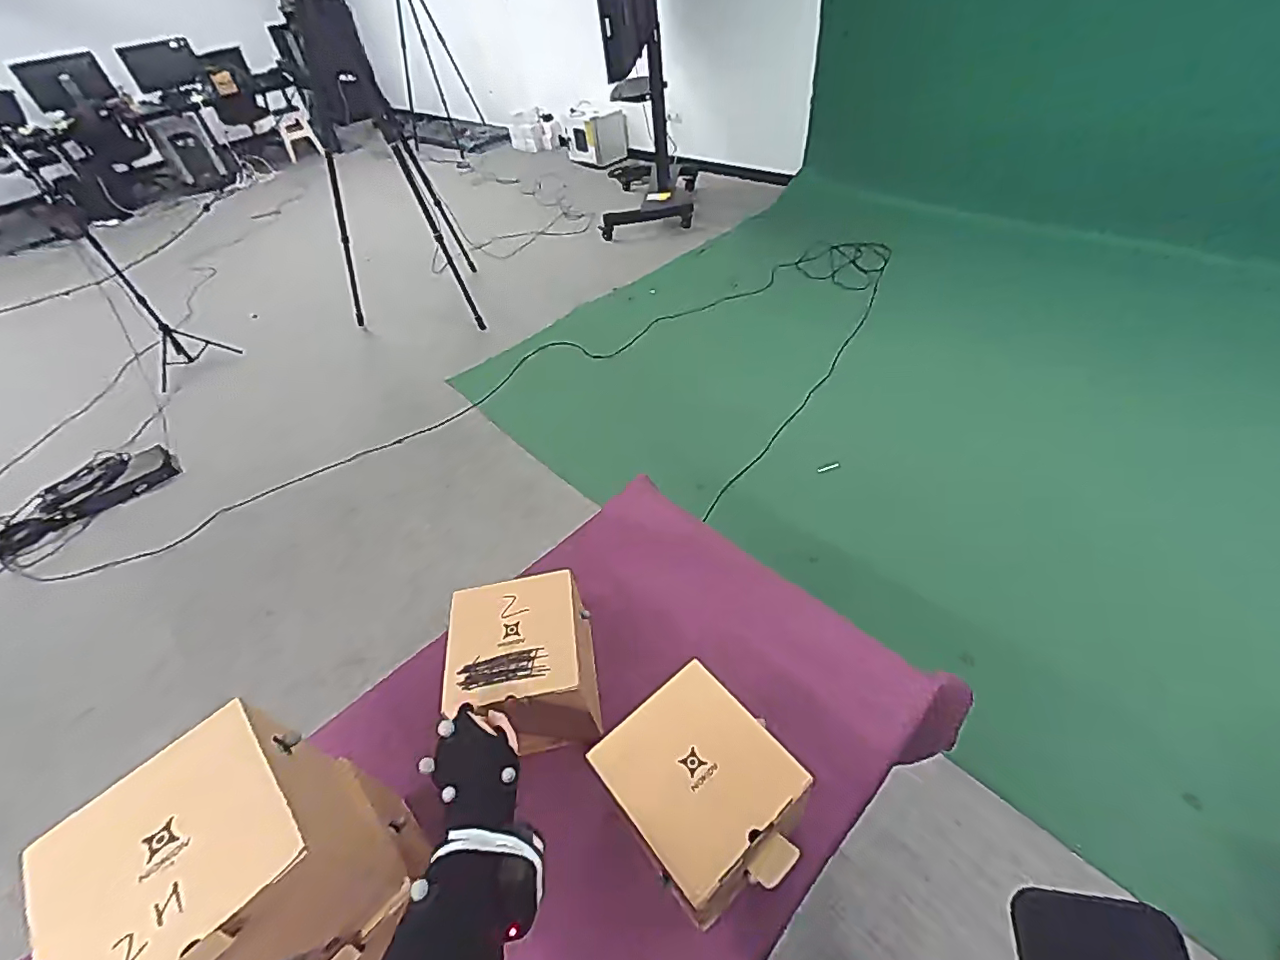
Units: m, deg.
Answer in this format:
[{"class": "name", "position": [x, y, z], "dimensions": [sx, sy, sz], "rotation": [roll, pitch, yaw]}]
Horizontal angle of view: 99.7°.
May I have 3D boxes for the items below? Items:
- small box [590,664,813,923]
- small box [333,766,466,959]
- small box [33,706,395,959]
[{"class": "small box", "position": [0.068, 0.357, 0.618], "dimensions": [0.168, 0.176, 0.179], "rotation": [-34, 50, -23]}, {"class": "small box", "position": [-0.319, 0.458, 0.585], "dimensions": [0.168, 0.176, 0.179], "rotation": [-38, 52, -26]}, {"class": "small box", "position": [-0.353, 0.345, 0.469], "dimensions": [0.179, 0.176, 0.168], "rotation": [32, 58, 34]}]
